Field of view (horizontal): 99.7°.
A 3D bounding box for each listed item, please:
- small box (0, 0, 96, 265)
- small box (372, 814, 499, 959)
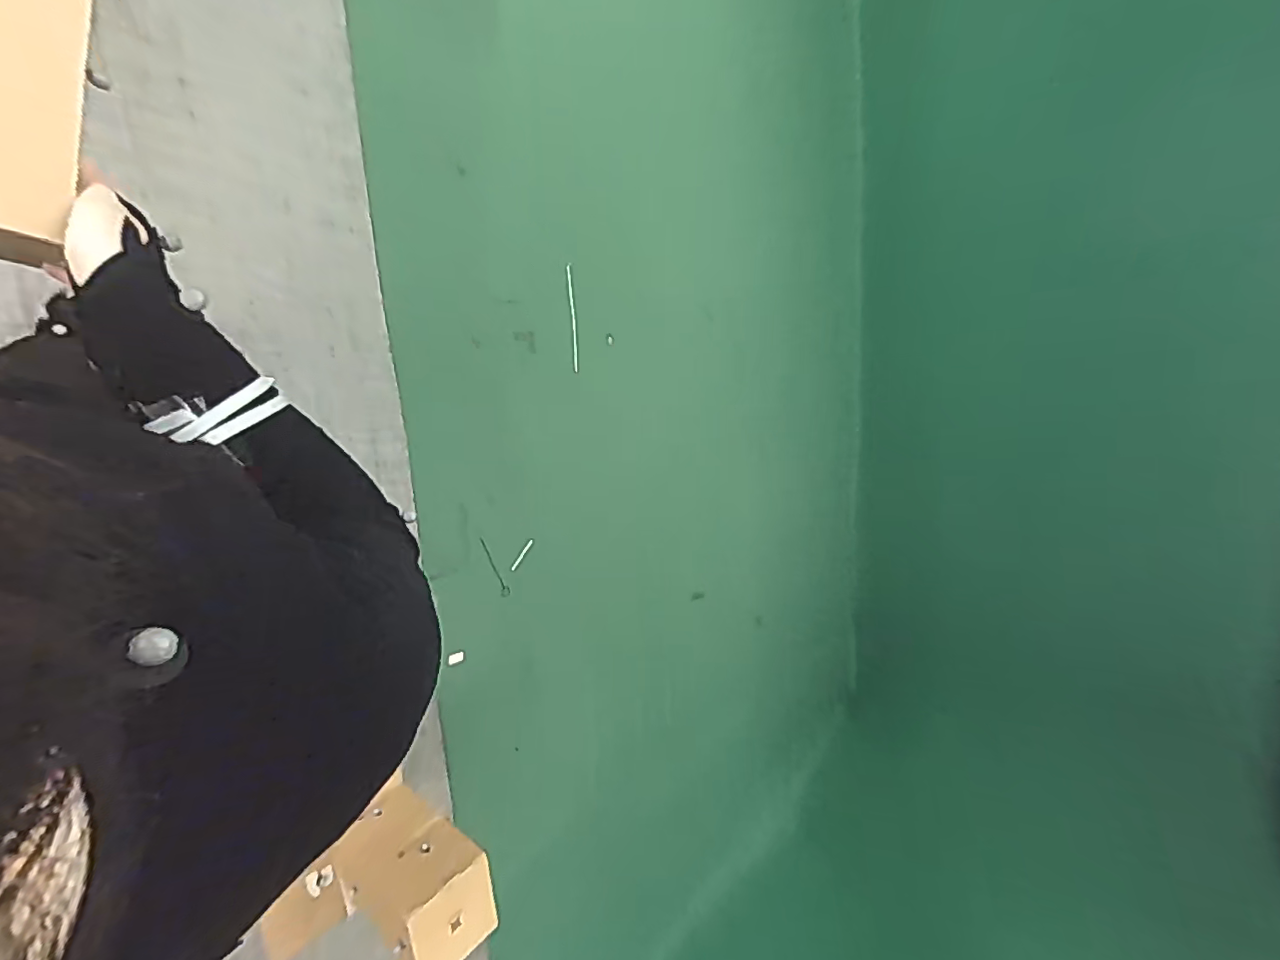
[{"bbox_3d":[-0.452,-0.247,0.320,0.168,0.176,0.179,4,96,-49],"label":"small box"},{"bbox_3d":[-0.408,0.821,1.080,0.168,0.176,0.179,-17,106,-47],"label":"small box"}]
